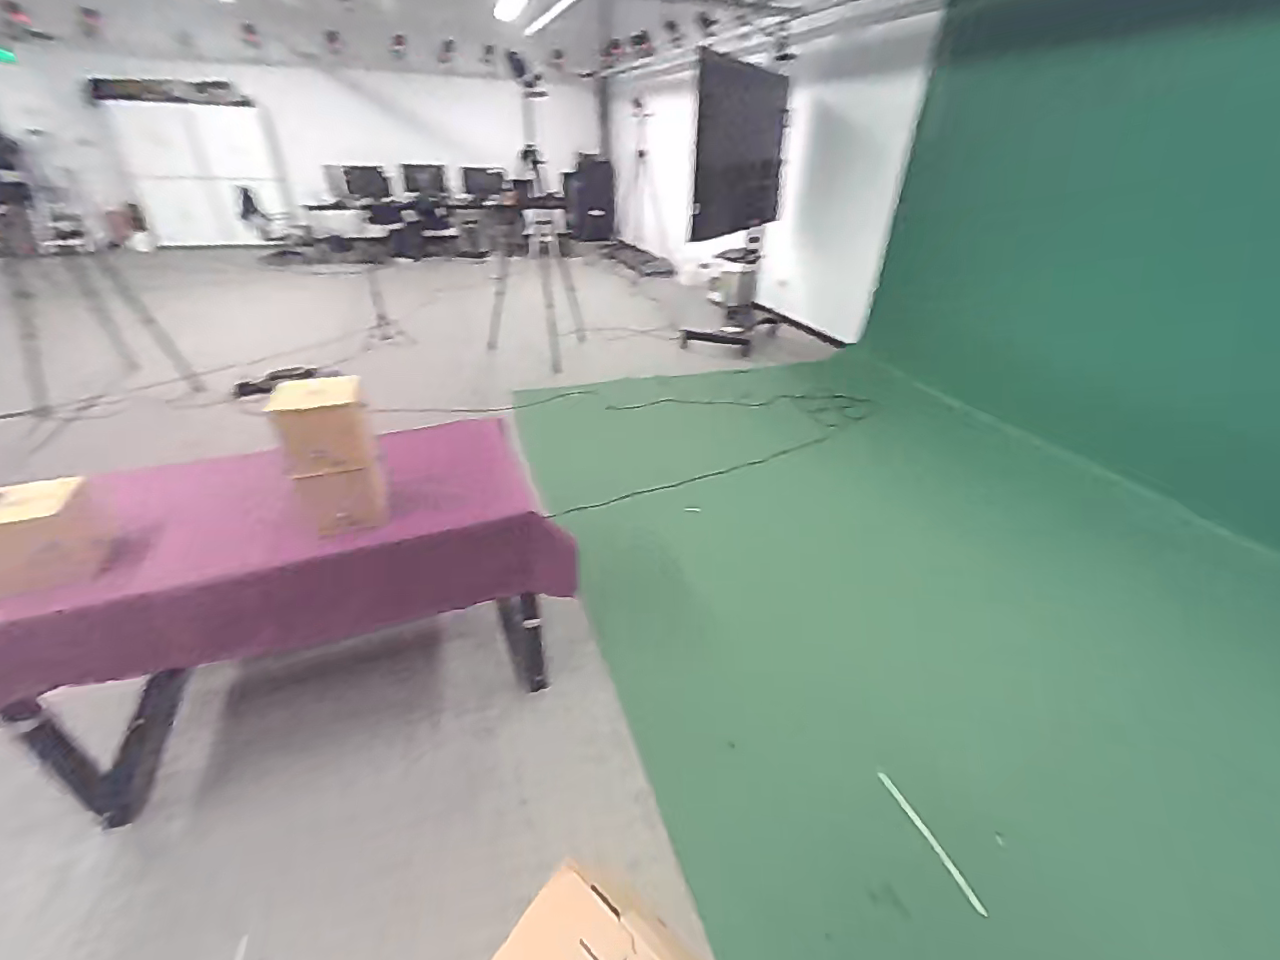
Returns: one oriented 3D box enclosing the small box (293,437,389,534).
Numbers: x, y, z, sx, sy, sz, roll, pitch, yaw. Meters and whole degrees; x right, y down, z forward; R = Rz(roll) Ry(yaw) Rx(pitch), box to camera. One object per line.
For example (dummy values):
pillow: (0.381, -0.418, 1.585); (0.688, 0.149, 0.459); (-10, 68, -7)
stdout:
small box: (-0.730, 0.009, 1.342); (0.168, 0.176, 0.179); (-10, 34, -17)

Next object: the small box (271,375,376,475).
small box: (-0.723, -0.131, 1.257); (0.168, 0.176, 0.179); (-9, 34, -18)
